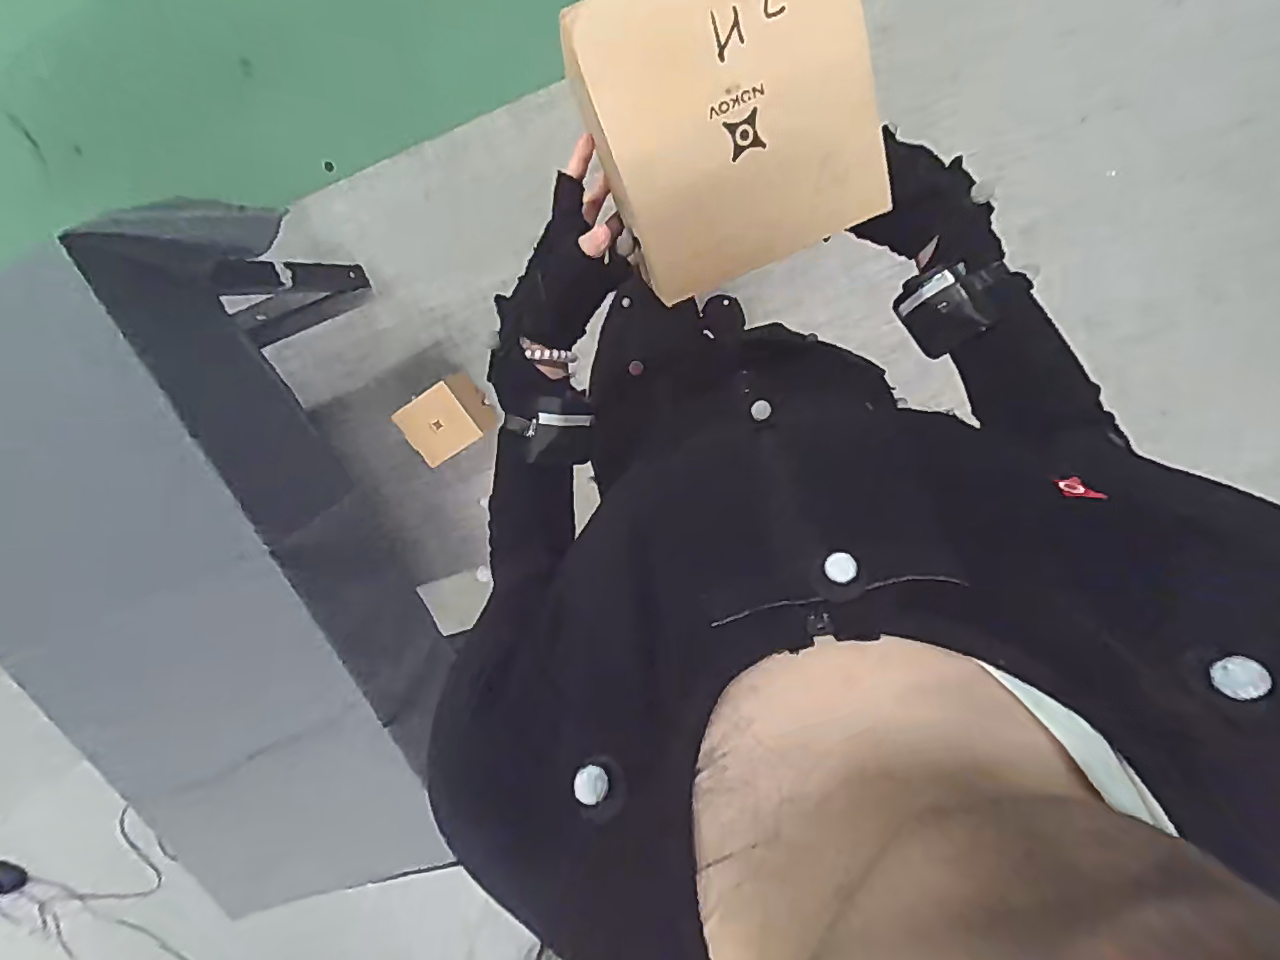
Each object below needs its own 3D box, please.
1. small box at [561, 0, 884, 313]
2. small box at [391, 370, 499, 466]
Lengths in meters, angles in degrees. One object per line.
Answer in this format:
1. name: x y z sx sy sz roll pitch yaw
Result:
1. small box: 0.053 -0.252 0.405 0.168 0.176 0.179 -22 117 5
2. small box: -0.501 -0.166 1.419 0.179 0.176 0.168 -29 107 14
